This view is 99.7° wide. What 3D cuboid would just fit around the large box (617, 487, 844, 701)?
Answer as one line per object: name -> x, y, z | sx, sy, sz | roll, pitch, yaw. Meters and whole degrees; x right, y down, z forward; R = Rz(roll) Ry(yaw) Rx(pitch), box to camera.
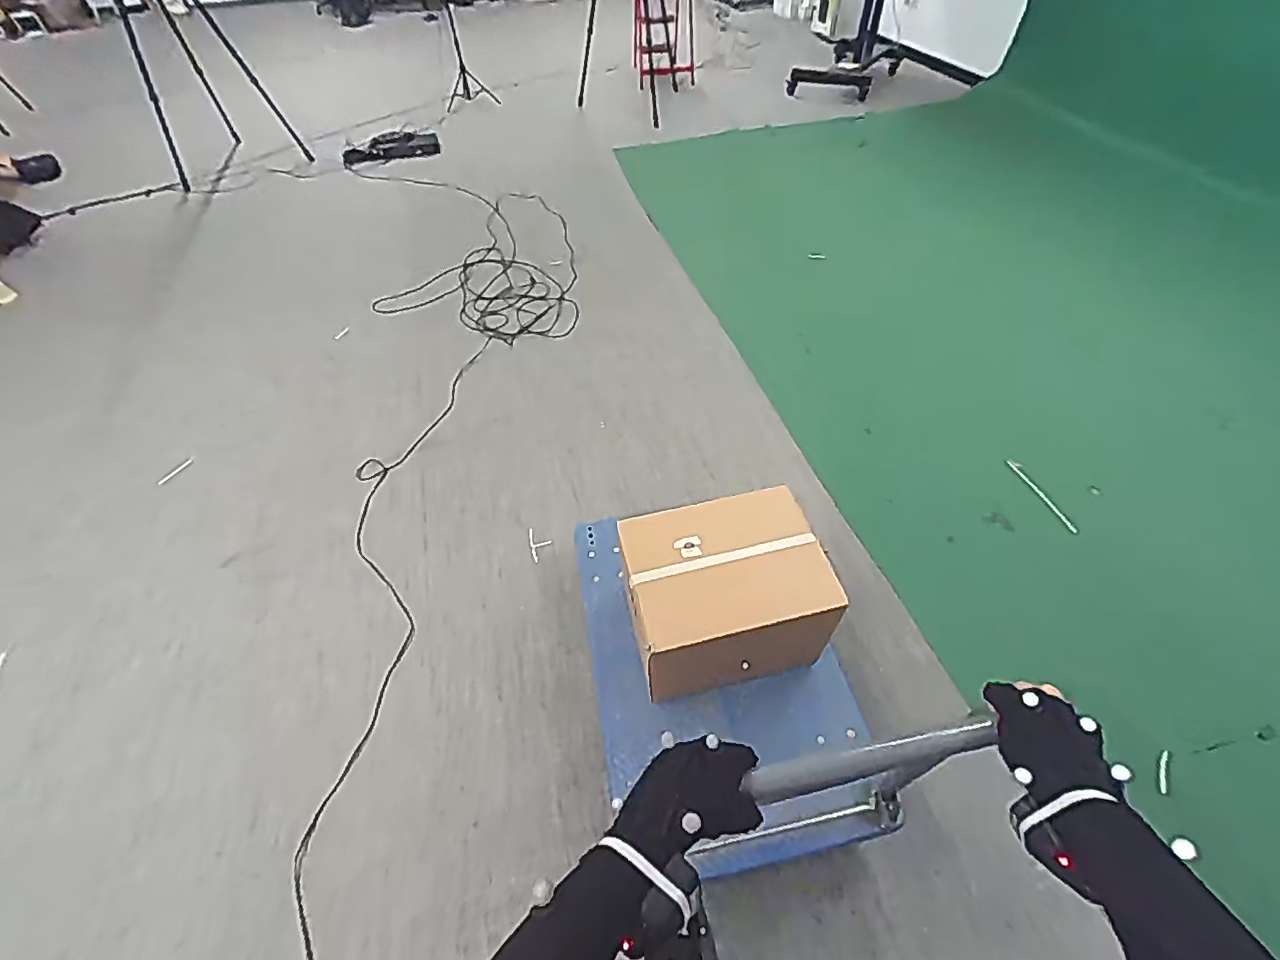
large box -> 0.183, 0.265, 1.245 | 0.408, 0.320, 0.320 | -13, 51, -7
